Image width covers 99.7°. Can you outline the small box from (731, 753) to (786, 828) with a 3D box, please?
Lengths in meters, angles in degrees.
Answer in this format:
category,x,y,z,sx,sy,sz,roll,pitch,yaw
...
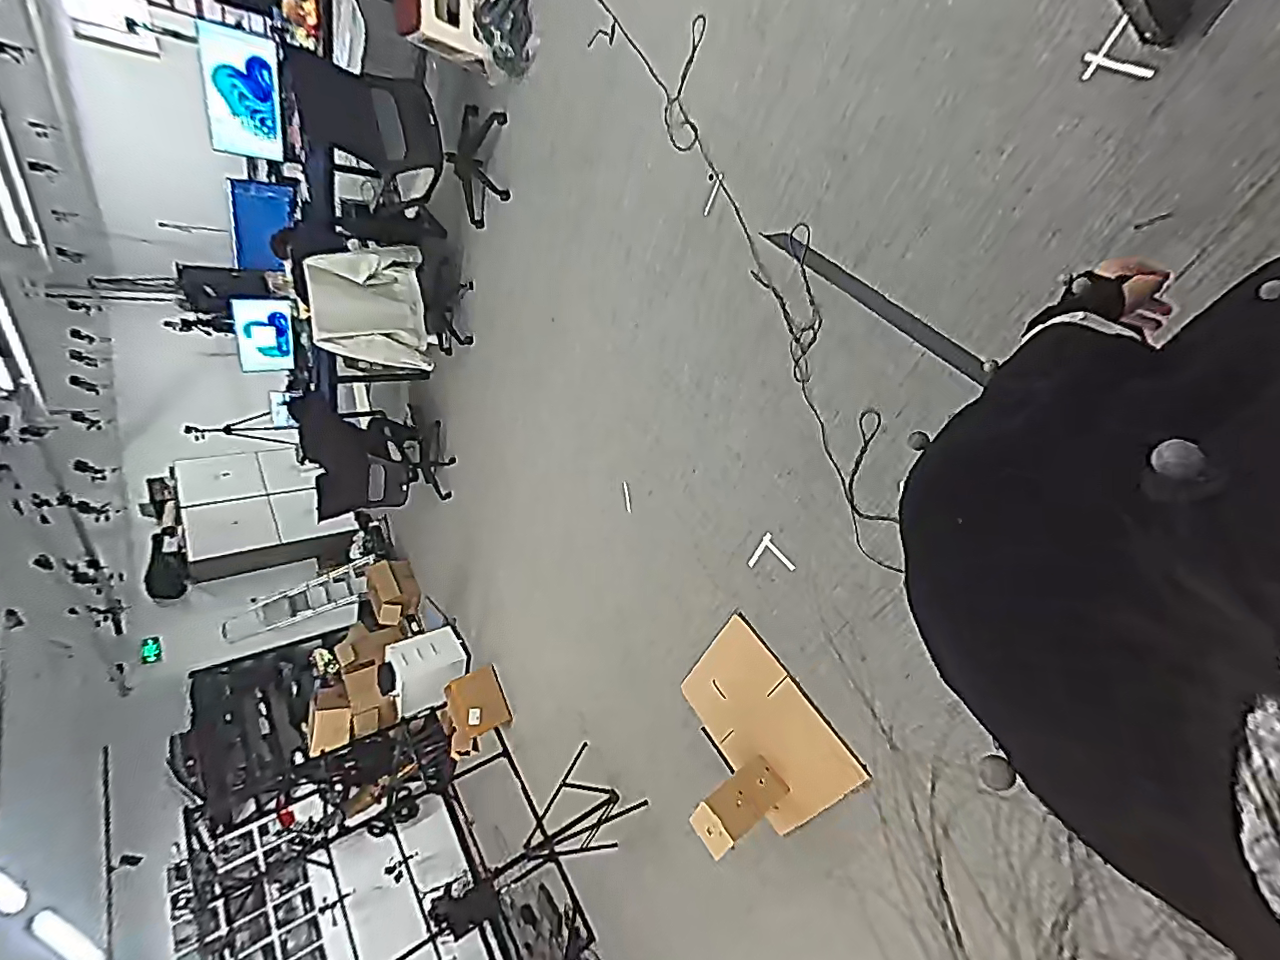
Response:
category,x,y,z,sx,sy,sz,roll,pitch,yaw
small box,0.441,1.204,2.101,0.168,0.176,0.179,45,131,35

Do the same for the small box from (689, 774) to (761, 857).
category,x,y,z,sx,sy,sz,roll,pitch,yaw
small box,0.316,1.237,1.999,0.168,0.176,0.179,45,132,33
